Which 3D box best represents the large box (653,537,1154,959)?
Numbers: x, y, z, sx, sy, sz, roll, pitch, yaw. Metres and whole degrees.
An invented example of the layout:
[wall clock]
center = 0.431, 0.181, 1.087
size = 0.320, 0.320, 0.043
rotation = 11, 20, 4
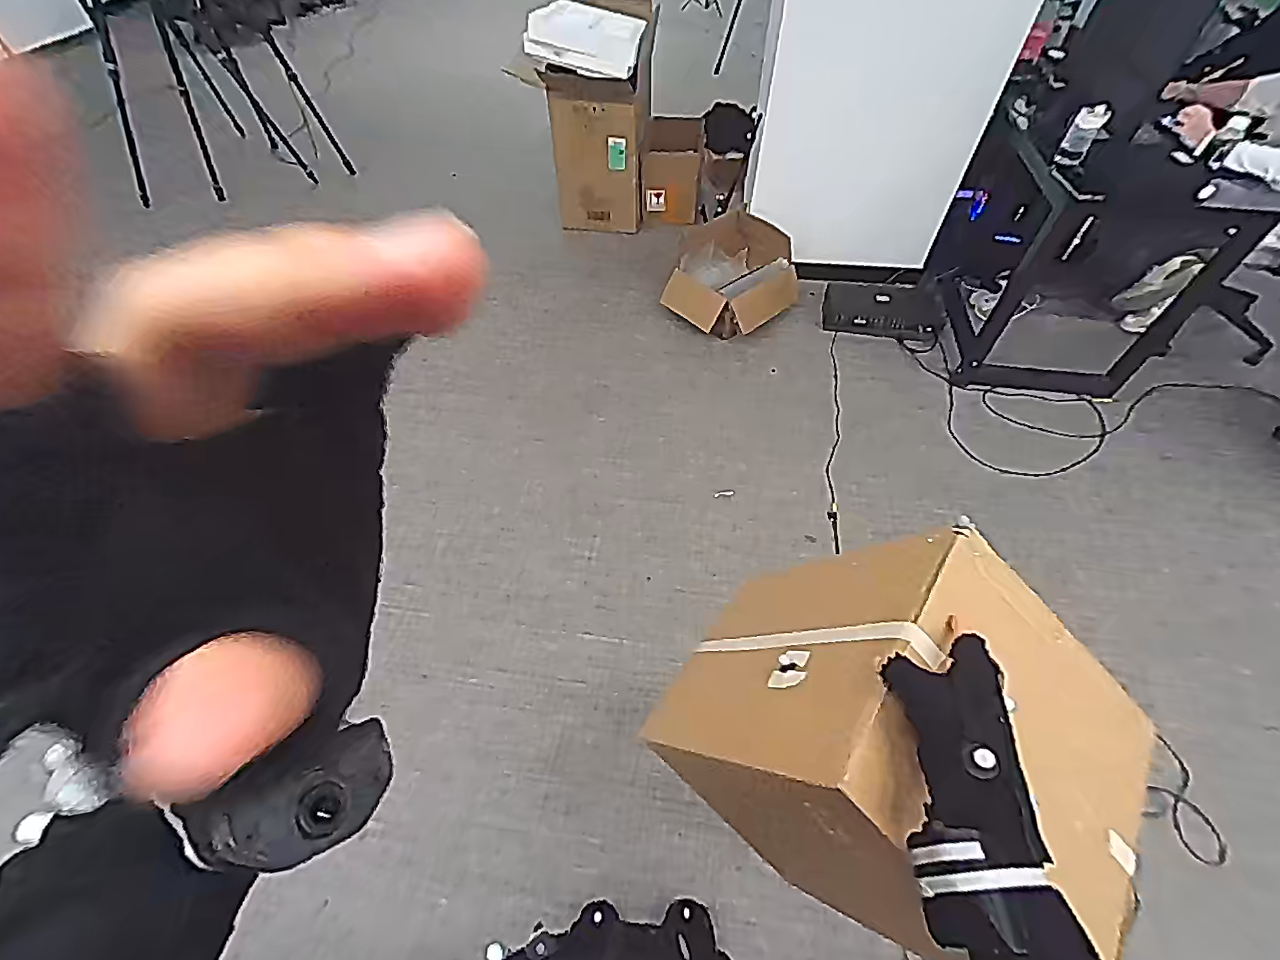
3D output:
[large box]
center = 0.287, 0.322, 0.677
size = 0.320, 0.408, 0.320
rotation = 46, 61, -3
